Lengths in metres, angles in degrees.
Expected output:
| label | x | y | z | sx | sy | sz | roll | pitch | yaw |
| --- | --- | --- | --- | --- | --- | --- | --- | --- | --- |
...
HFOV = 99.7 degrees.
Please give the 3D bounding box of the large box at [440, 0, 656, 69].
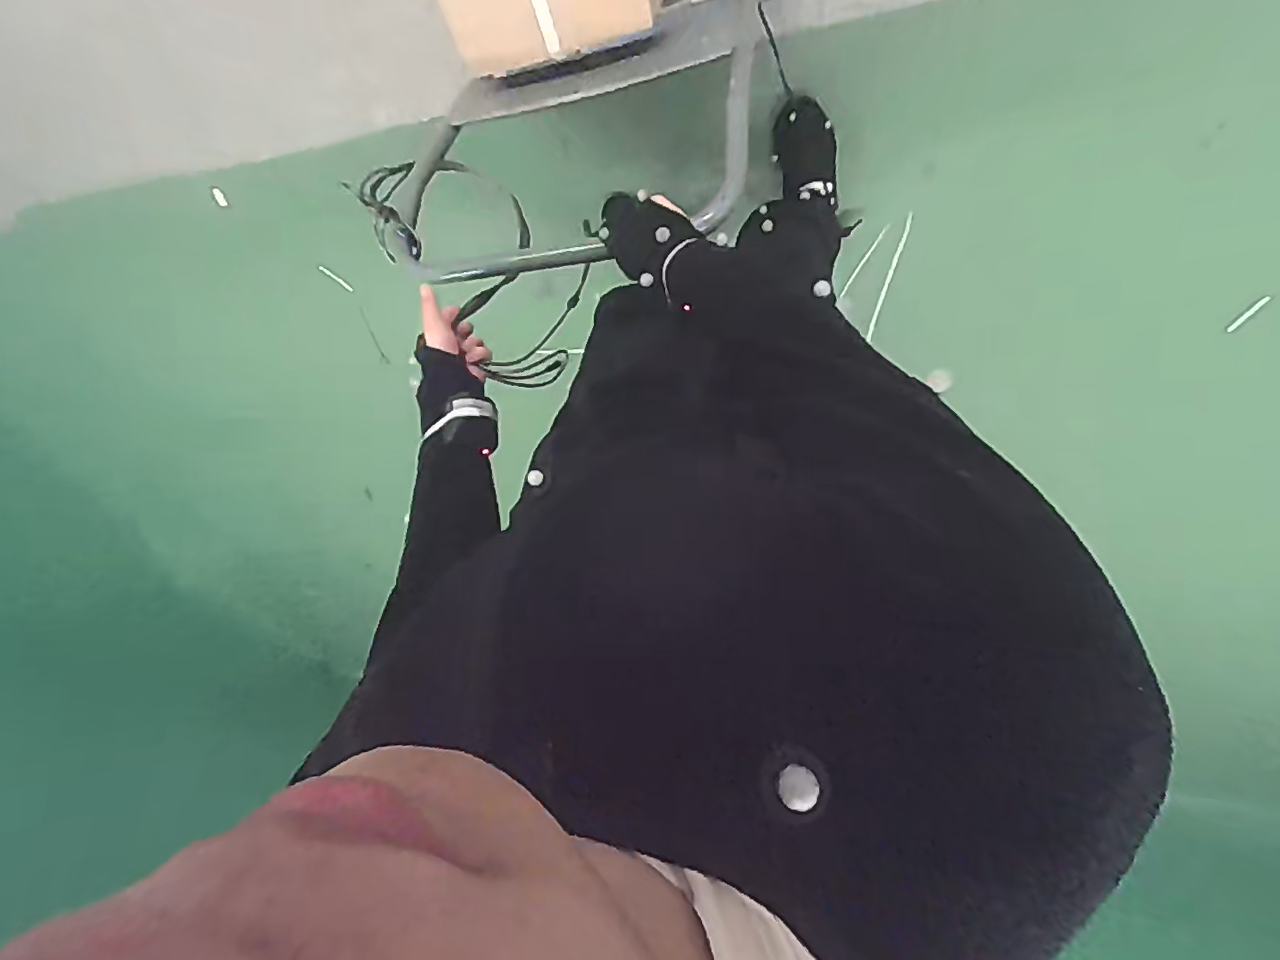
| label | x | y | z | sx | sy | sz | roll | pitch | yaw |
| --- | --- | --- | --- | --- | --- | --- | --- | --- | --- |
| large box | -0.153 | -0.895 | 0.750 | 0.320 | 0.320 | 0.408 | -1 | 145 | 17 |
